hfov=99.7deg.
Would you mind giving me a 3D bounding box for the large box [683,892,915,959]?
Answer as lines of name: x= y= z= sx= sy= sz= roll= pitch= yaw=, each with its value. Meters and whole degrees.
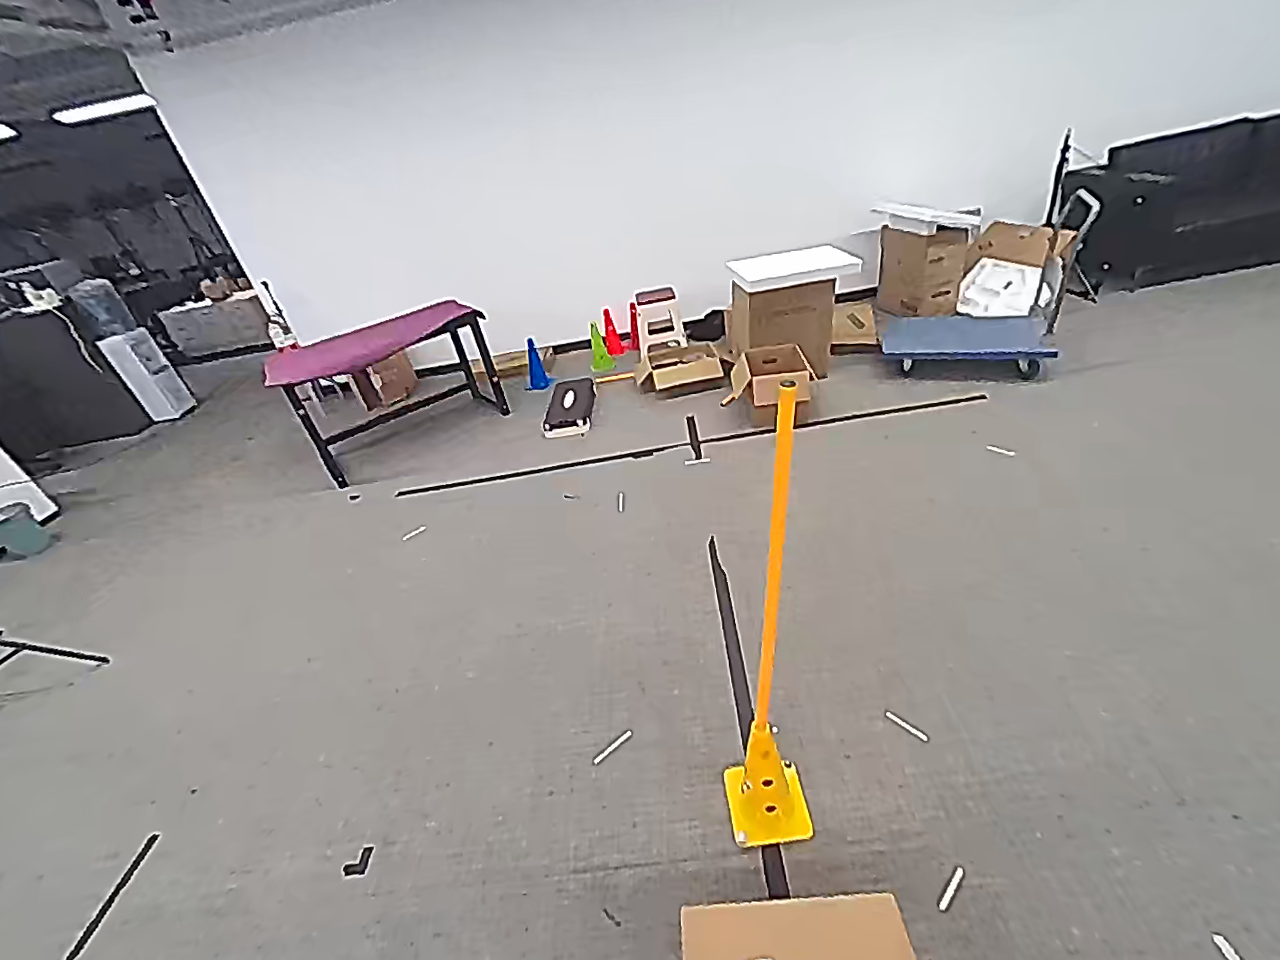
large box: x=0.309 y=1.008 z=0.980 sx=0.408 sy=0.320 sz=0.320 roll=-9 pitch=31 yaw=6
